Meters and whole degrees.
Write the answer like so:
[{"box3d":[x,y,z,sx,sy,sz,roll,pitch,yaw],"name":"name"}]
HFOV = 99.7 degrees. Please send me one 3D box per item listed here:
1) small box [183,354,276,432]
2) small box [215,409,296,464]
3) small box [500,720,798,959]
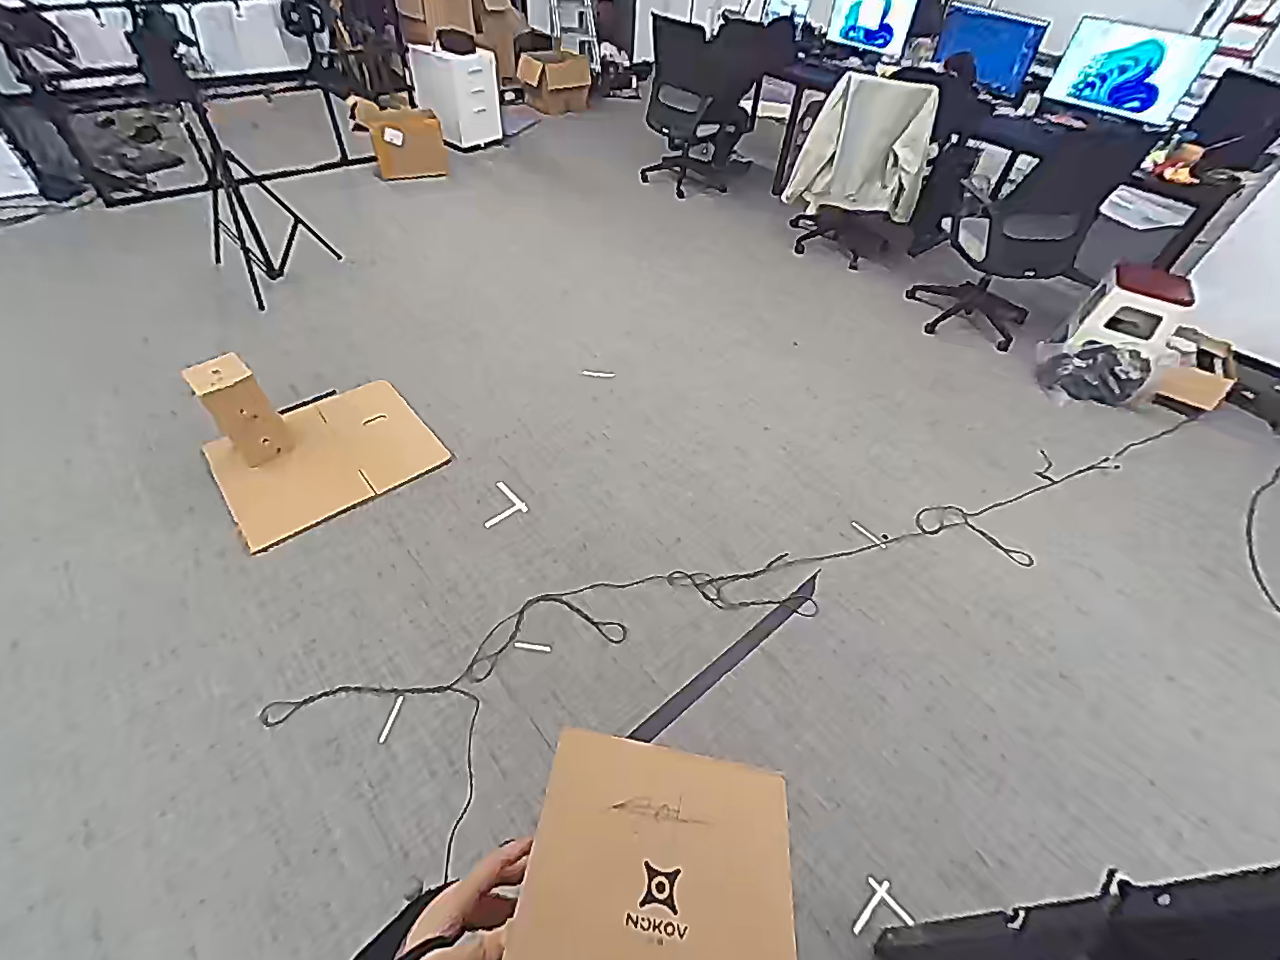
[{"box3d":[-1.381,-0.291,1.827,0.179,0.176,0.168,37,56,26],"name":"small box"},{"box3d":[-1.386,-0.182,1.950,0.179,0.176,0.168,35,54,24],"name":"small box"},{"box3d":[0.000,0.302,0.371,0.168,0.176,0.179,13,39,-1],"name":"small box"}]
